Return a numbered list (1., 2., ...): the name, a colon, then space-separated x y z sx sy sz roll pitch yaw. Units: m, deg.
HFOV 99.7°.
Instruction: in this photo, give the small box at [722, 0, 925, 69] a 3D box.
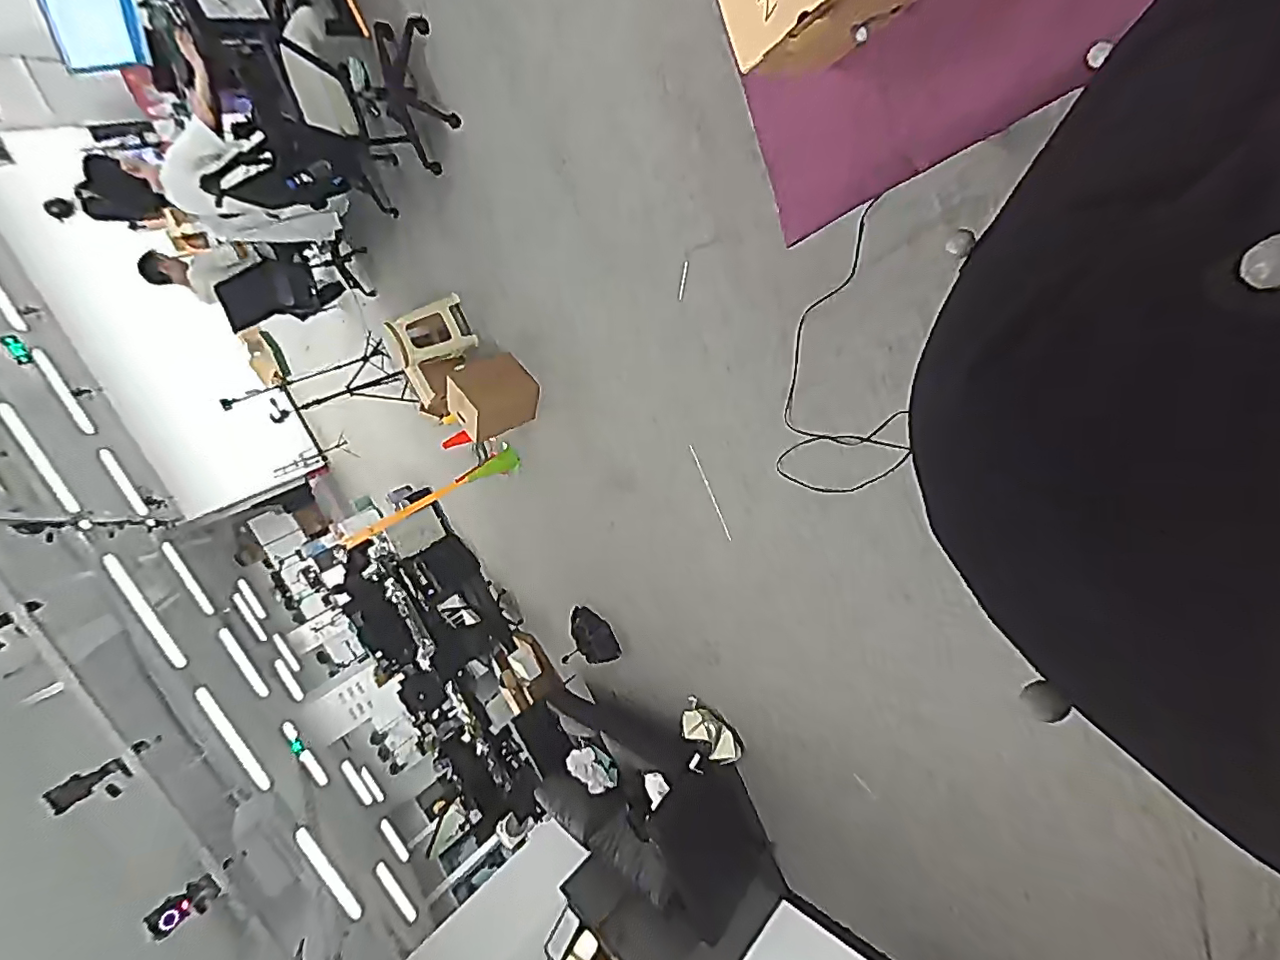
1. small box: 0.191 -0.563 0.556 0.168 0.176 0.179 -2 114 54
